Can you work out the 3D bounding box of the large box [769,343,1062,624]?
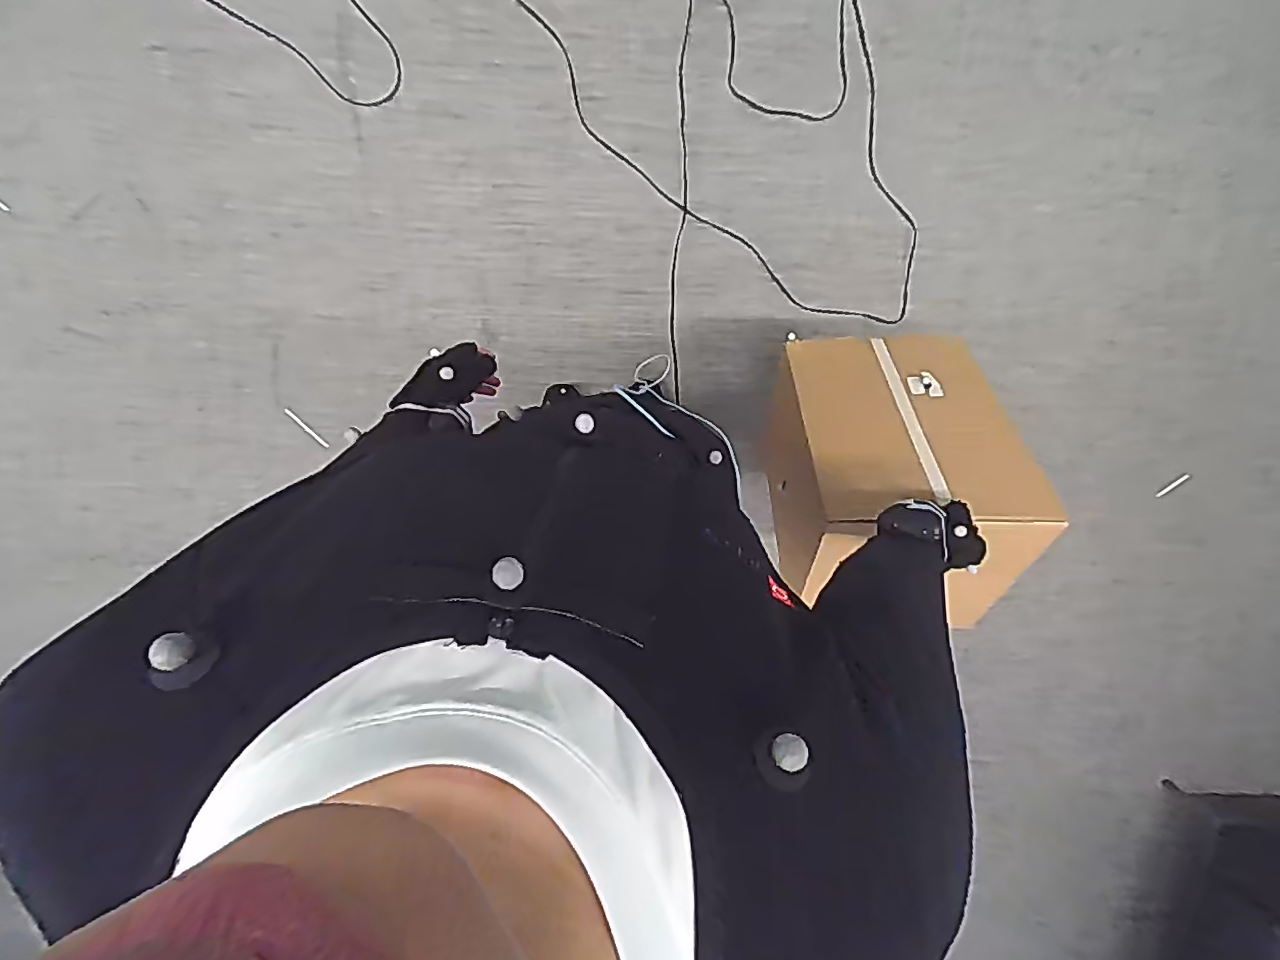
[{"bbox_3d":[0.422,0.005,0.961,0.320,0.408,0.320,0,138,3],"label":"large box"}]
